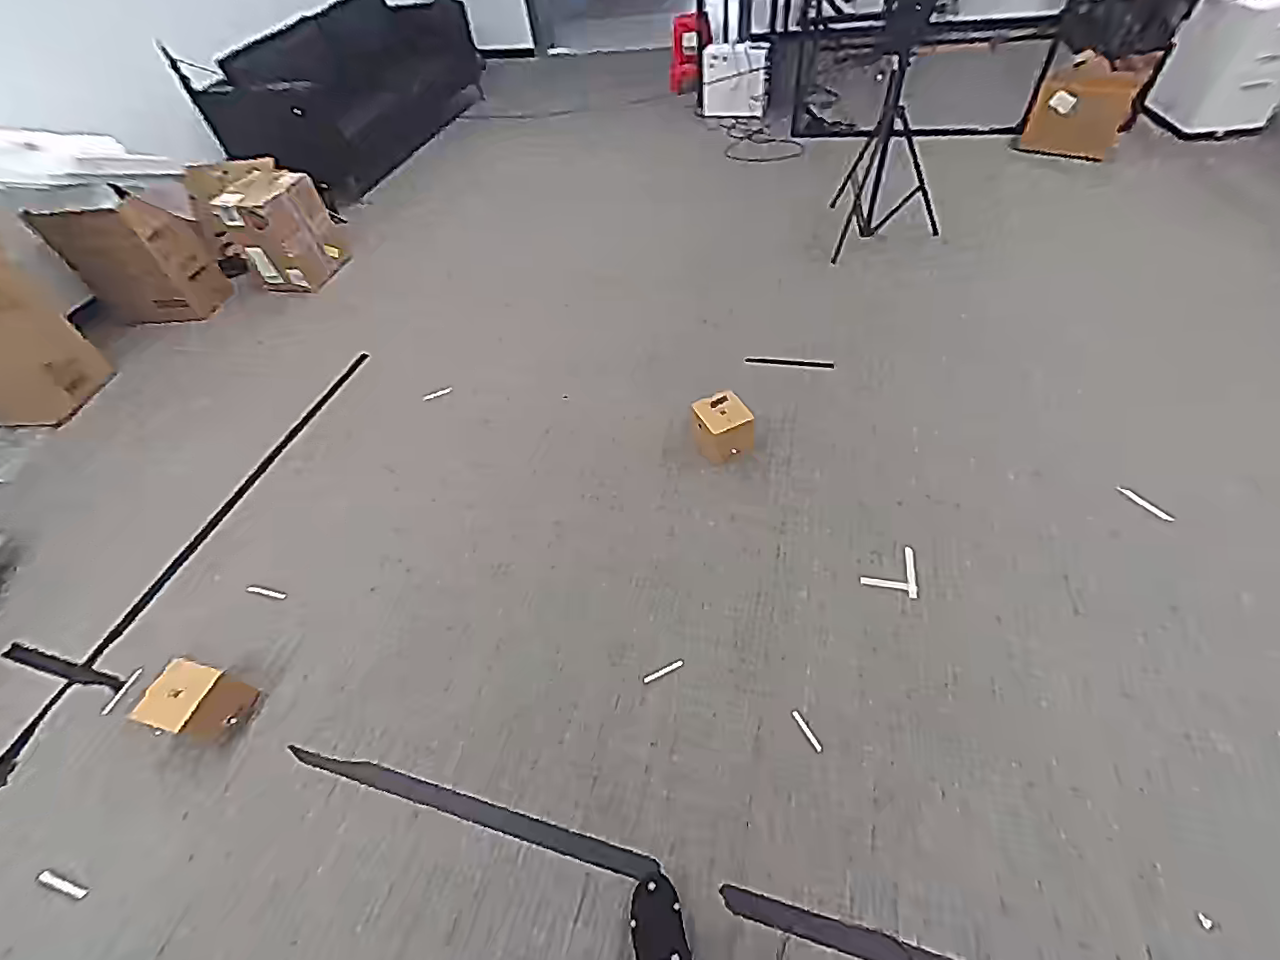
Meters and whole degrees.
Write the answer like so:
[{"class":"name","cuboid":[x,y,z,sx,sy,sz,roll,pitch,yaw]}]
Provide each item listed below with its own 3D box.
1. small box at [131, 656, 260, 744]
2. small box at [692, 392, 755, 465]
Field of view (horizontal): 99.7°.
[{"class":"small box","cuboid":[-1.221,0.613,1.499,0.179,0.176,0.168,9,53,13]},{"class":"small box","cuboid":[0.300,-0.186,1.969,0.168,0.176,0.179,-23,52,-11]}]
